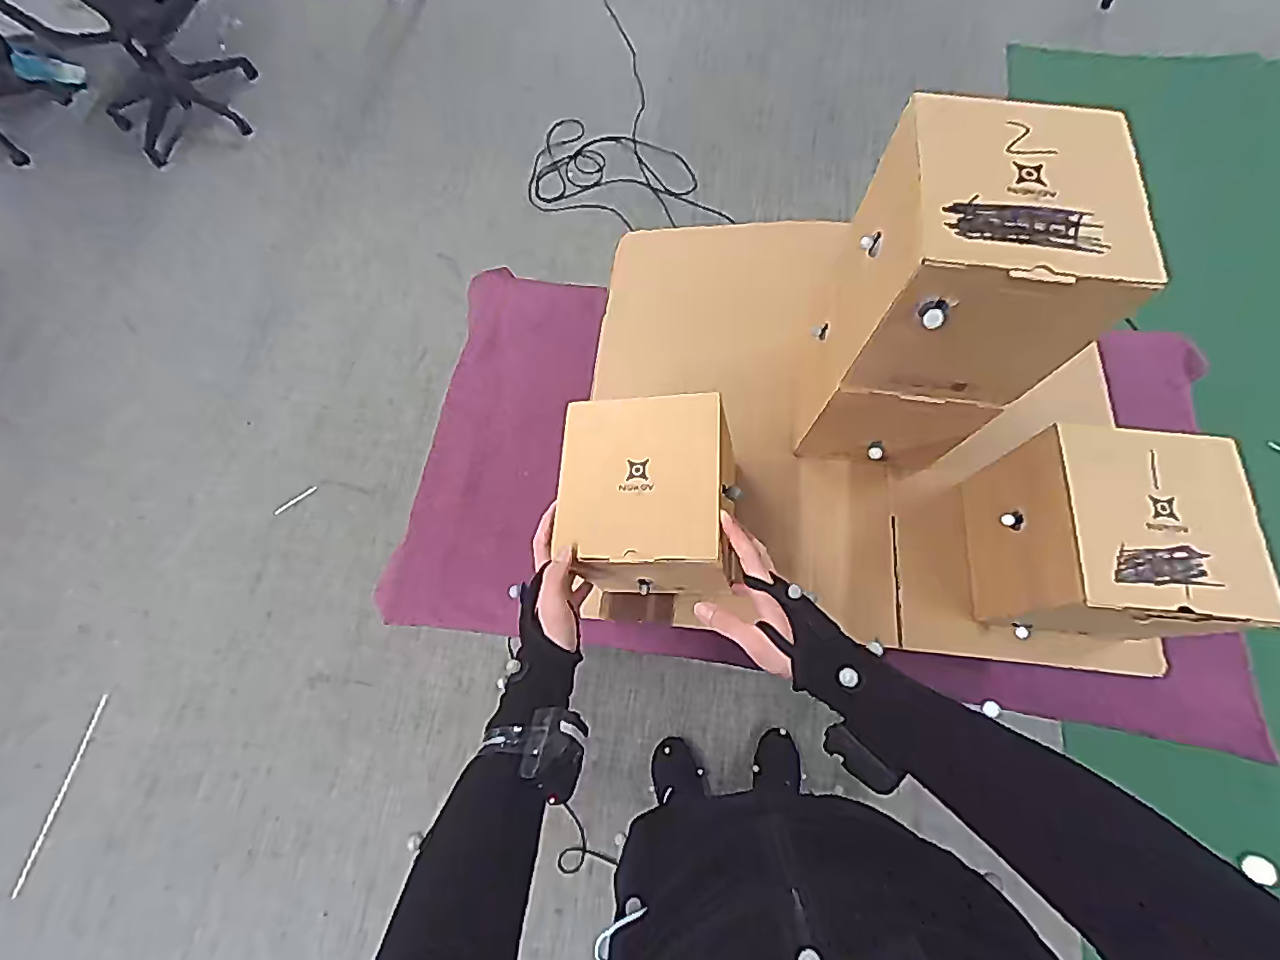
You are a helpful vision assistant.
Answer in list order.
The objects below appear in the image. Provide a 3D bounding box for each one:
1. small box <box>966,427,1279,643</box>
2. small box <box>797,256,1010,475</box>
[{"bbox_3d":[0.468,0.066,0.556,0.168,0.176,0.179,6,69,3],"label":"small box"},{"bbox_3d":[0.286,-0.124,0.628,0.168,0.176,0.179,7,70,3],"label":"small box"}]
